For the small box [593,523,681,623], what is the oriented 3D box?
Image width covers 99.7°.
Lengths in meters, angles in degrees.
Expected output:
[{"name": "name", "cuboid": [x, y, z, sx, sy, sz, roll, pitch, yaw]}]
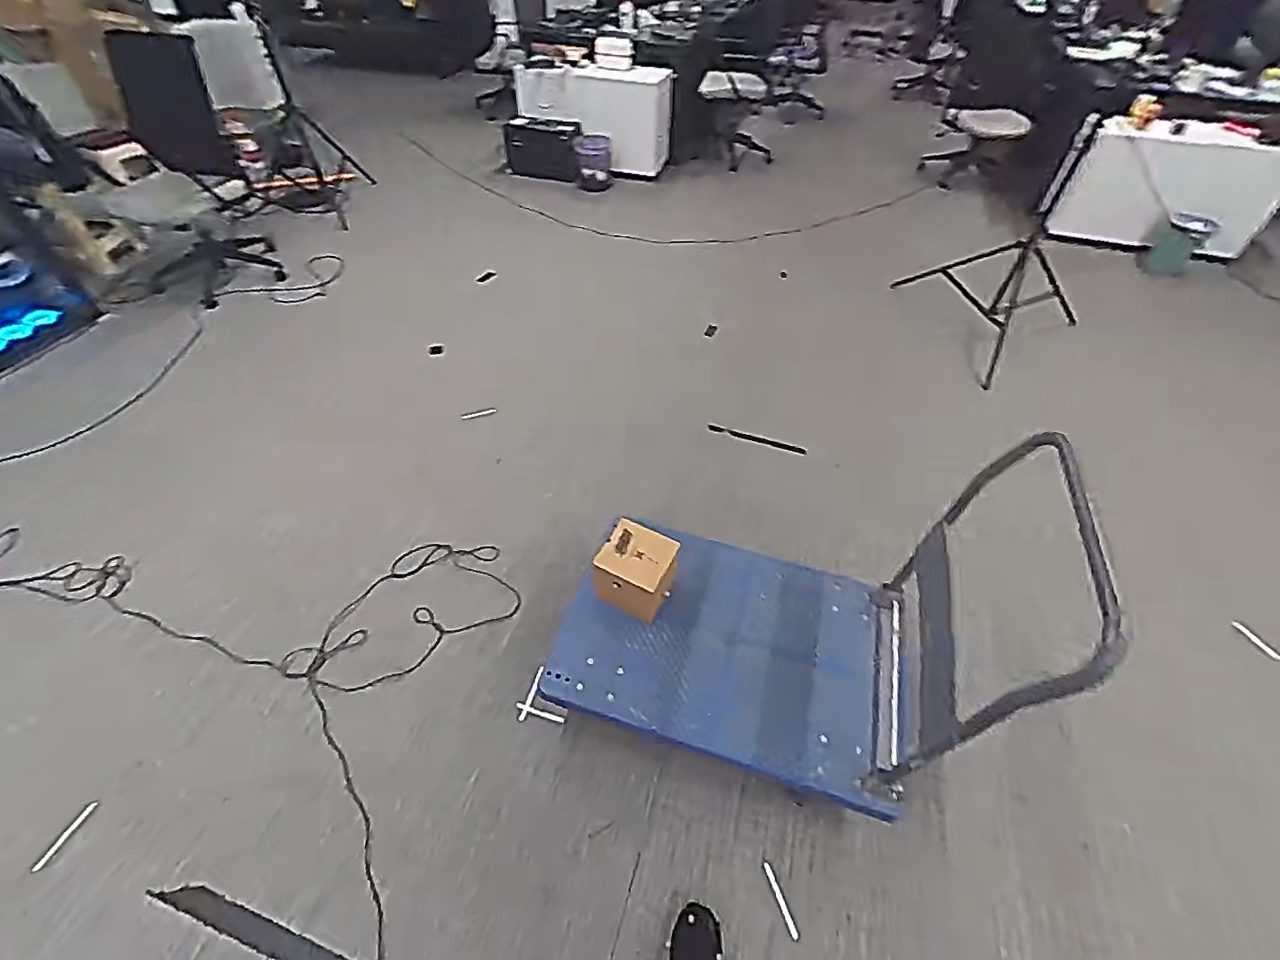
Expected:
[{"name": "small box", "cuboid": [-0.009, 0.251, 1.438, 0.179, 0.176, 0.168, 23, 52, 16]}]
